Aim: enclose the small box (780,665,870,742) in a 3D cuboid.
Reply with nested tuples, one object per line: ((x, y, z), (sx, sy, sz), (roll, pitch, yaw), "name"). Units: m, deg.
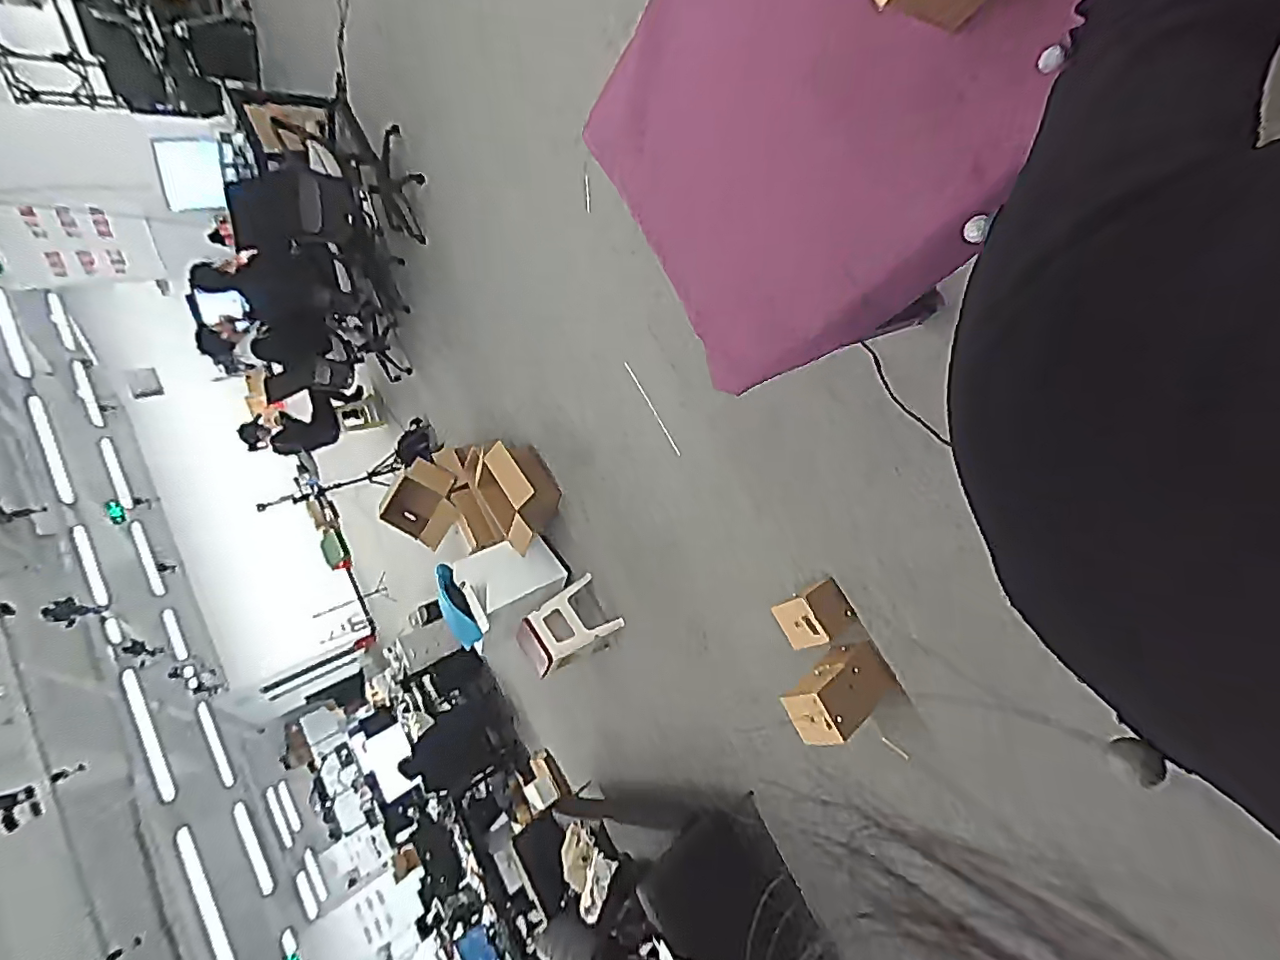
((0.597, 0.720, 1.742), (0.168, 0.176, 0.179), (61, 144, 10), "small box")

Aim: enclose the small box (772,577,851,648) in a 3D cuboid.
((0.601, 0.458, 1.877), (0.168, 0.176, 0.179), (61, 144, 11), "small box")

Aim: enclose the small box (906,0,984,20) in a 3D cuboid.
((0.296, -0.584, 0.505), (0.168, 0.176, 0.179), (-33, 81, 54), "small box")
